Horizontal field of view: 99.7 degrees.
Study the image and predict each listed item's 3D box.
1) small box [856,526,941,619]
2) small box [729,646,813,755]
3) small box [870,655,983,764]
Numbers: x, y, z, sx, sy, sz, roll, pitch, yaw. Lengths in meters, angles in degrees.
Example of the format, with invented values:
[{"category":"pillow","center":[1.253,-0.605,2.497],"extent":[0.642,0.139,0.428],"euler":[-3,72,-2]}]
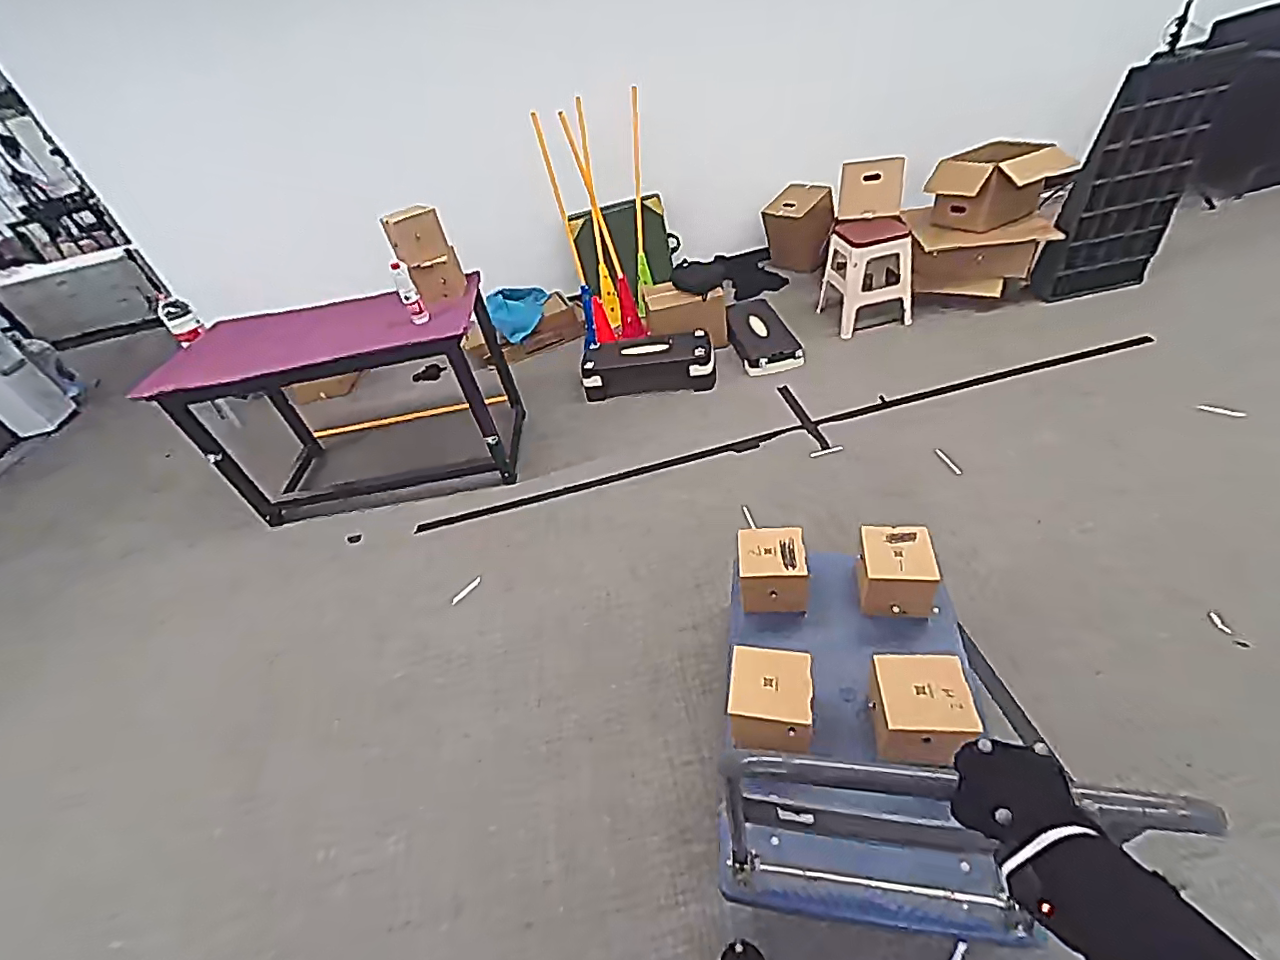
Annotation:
[{"category":"small box","center":[0.675,0.243,1.434],"extent":[0.168,0.176,0.179],"euler":[-1,44,14]},{"category":"small box","center":[0.302,0.506,1.239],"extent":[0.179,0.176,0.168],"euler":[2,42,15]},{"category":"small box","center":[0.604,0.496,1.168],"extent":[0.179,0.176,0.168],"euler":[-3,42,12]}]
